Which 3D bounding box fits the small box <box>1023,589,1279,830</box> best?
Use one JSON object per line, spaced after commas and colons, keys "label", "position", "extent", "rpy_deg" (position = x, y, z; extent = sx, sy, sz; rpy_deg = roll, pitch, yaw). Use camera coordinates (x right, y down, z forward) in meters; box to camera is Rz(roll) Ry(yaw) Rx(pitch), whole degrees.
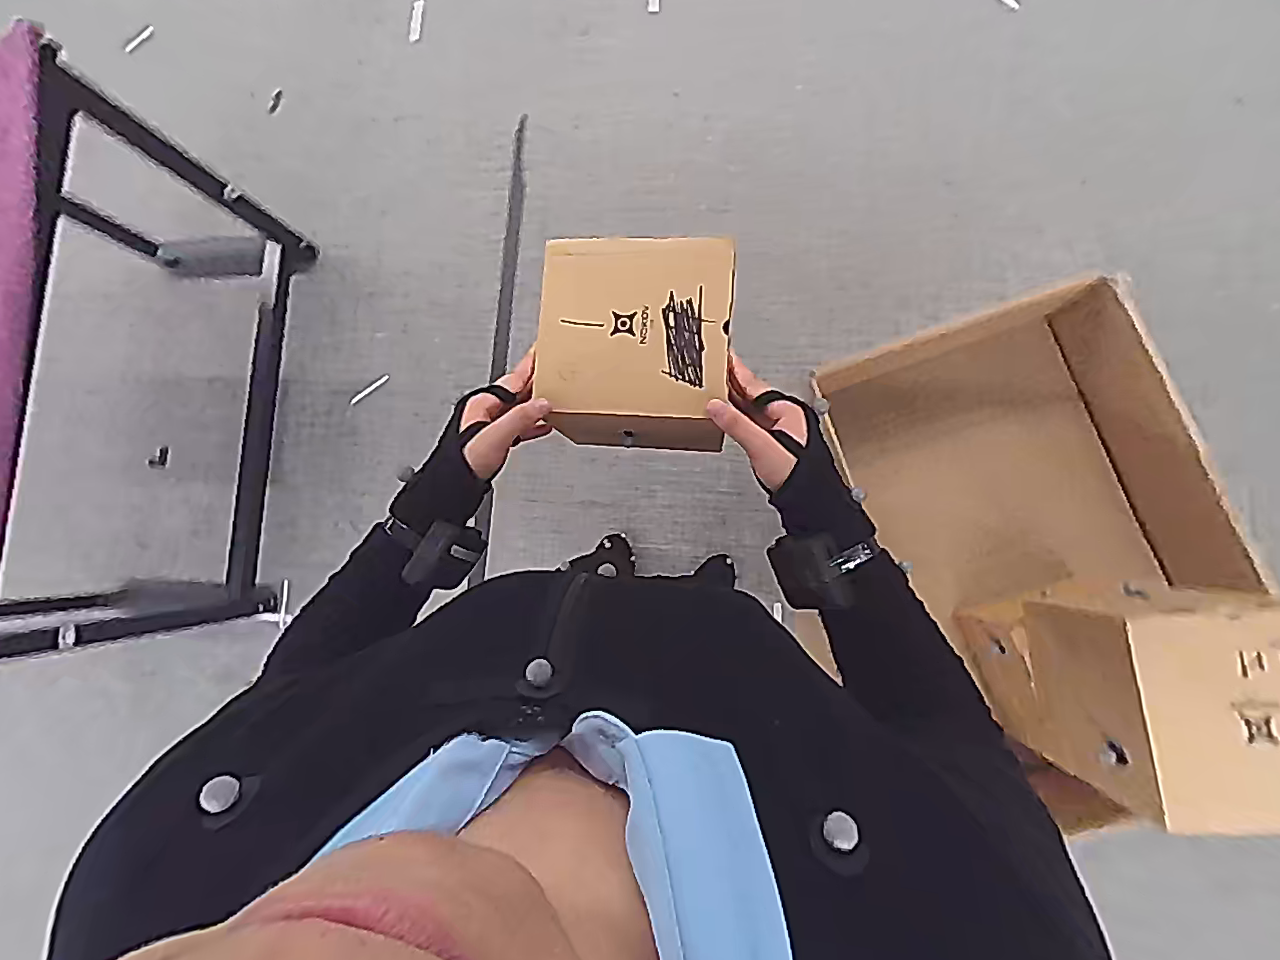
{"label": "small box", "position": [0.510, 0.203, 0.520], "extent": [0.168, 0.176, 0.179], "rpy_deg": [-5, 81, 8]}

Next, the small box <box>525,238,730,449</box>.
{"label": "small box", "position": [-0.002, -0.128, 0.559], "extent": [0.179, 0.176, 0.168], "rpy_deg": [3, 84, 8]}
